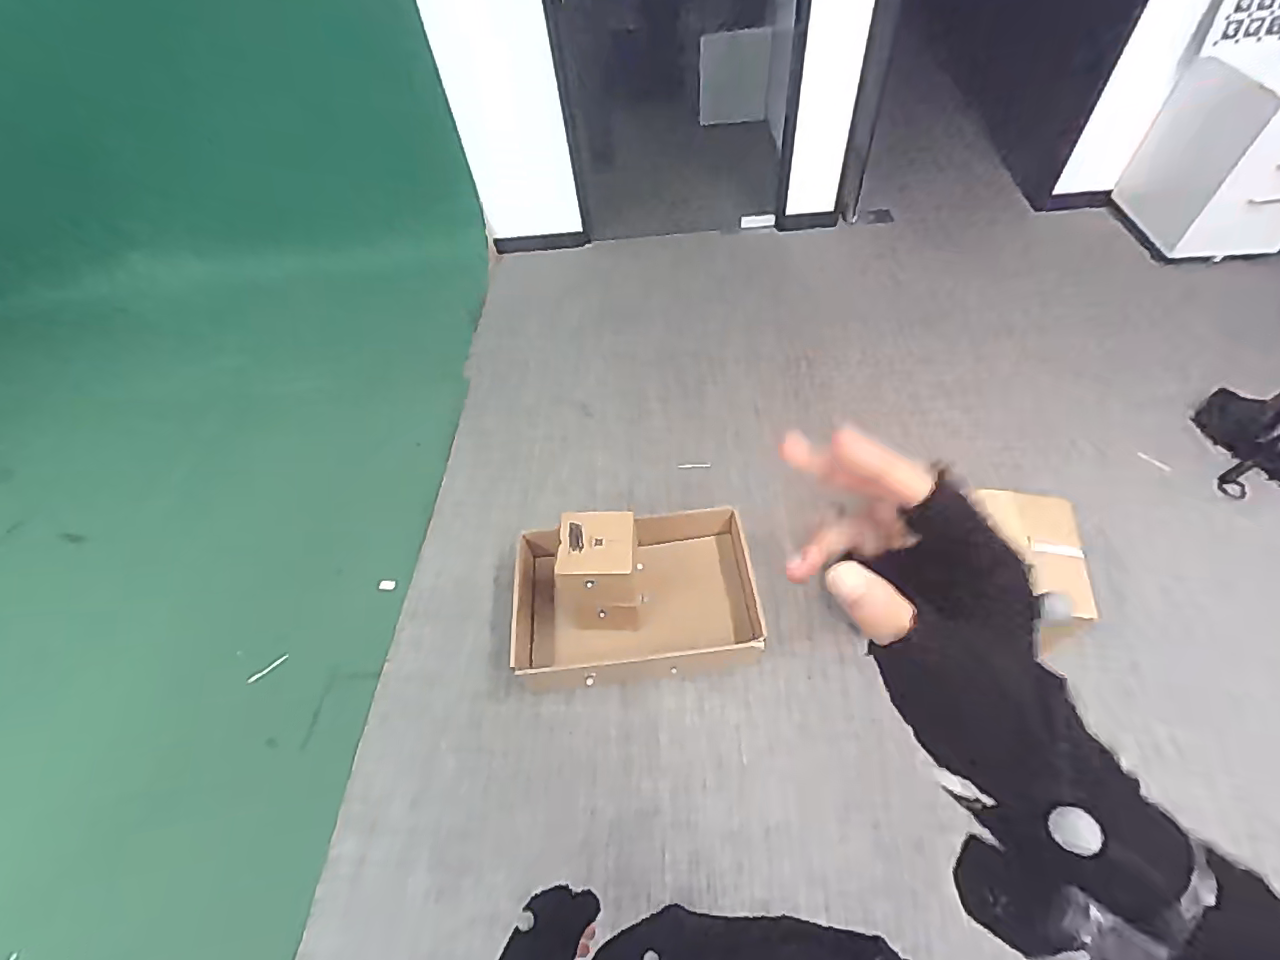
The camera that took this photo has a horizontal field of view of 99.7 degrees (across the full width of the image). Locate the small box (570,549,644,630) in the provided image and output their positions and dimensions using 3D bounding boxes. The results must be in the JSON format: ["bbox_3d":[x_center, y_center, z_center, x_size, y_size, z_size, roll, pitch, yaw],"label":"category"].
[{"bbox_3d":[-0.082,0.296,1.451,0.179,0.176,0.168,0,54,3],"label":"small box"}]

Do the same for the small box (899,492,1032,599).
[{"bbox_3d":[0.679,0.143,1.150,0.179,0.176,0.168,3,55,7],"label":"small box"}]

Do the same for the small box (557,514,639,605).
[{"bbox_3d":[-0.096,0.197,1.321,0.179,0.176,0.168,-1,54,3],"label":"small box"}]
